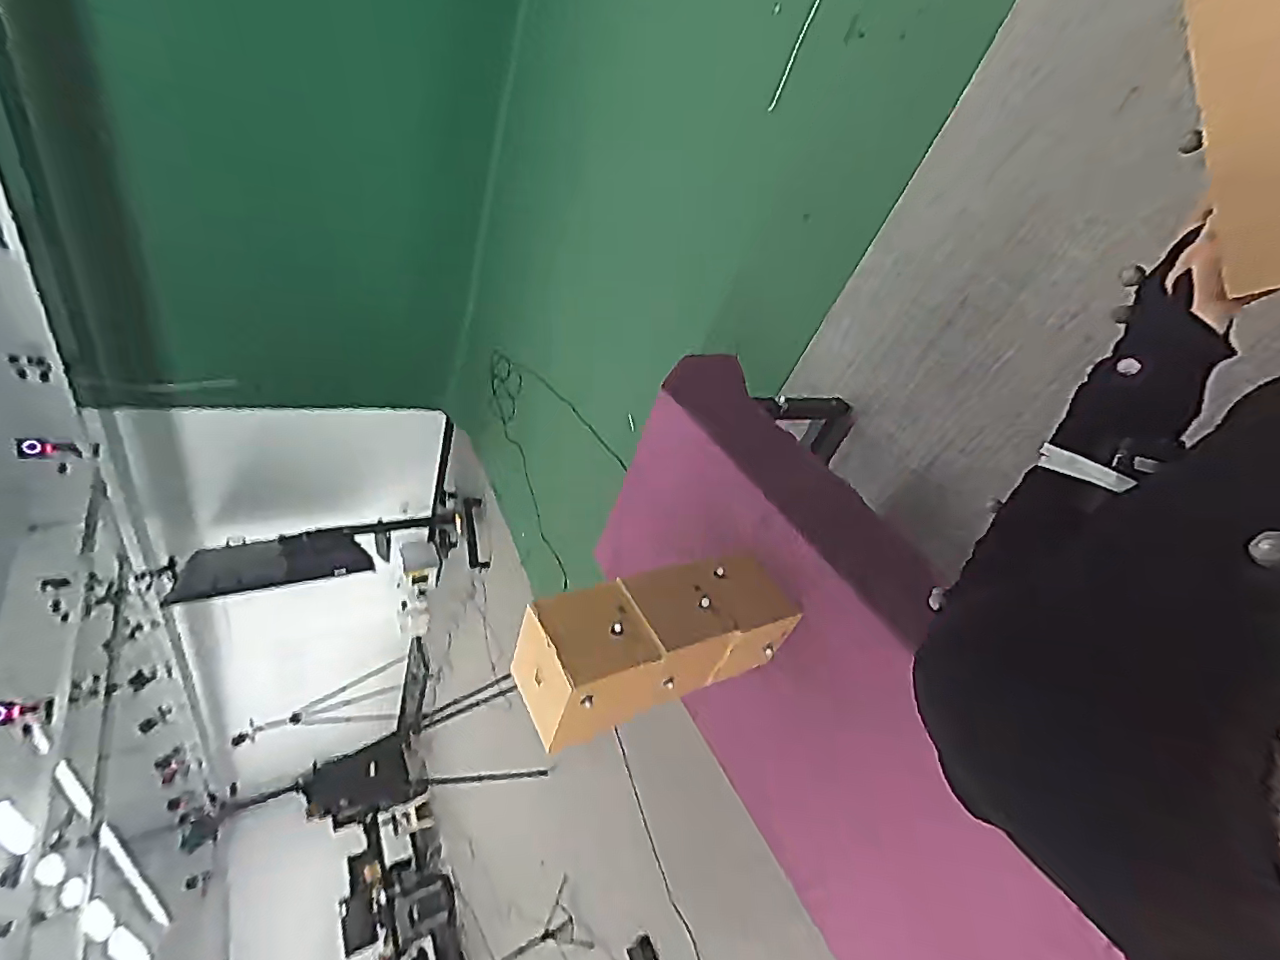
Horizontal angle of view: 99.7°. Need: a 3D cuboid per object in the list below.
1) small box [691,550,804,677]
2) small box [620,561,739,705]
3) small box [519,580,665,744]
[{"bbox_3d":[0.185,0.256,1.078,0.179,0.176,0.168,53,135,37],"label":"small box"},{"bbox_3d":[0.051,0.272,0.987,0.168,0.176,0.179,51,133,37],"label":"small box"},{"bbox_3d":[-0.082,0.293,0.896,0.168,0.176,0.179,49,132,39],"label":"small box"}]
